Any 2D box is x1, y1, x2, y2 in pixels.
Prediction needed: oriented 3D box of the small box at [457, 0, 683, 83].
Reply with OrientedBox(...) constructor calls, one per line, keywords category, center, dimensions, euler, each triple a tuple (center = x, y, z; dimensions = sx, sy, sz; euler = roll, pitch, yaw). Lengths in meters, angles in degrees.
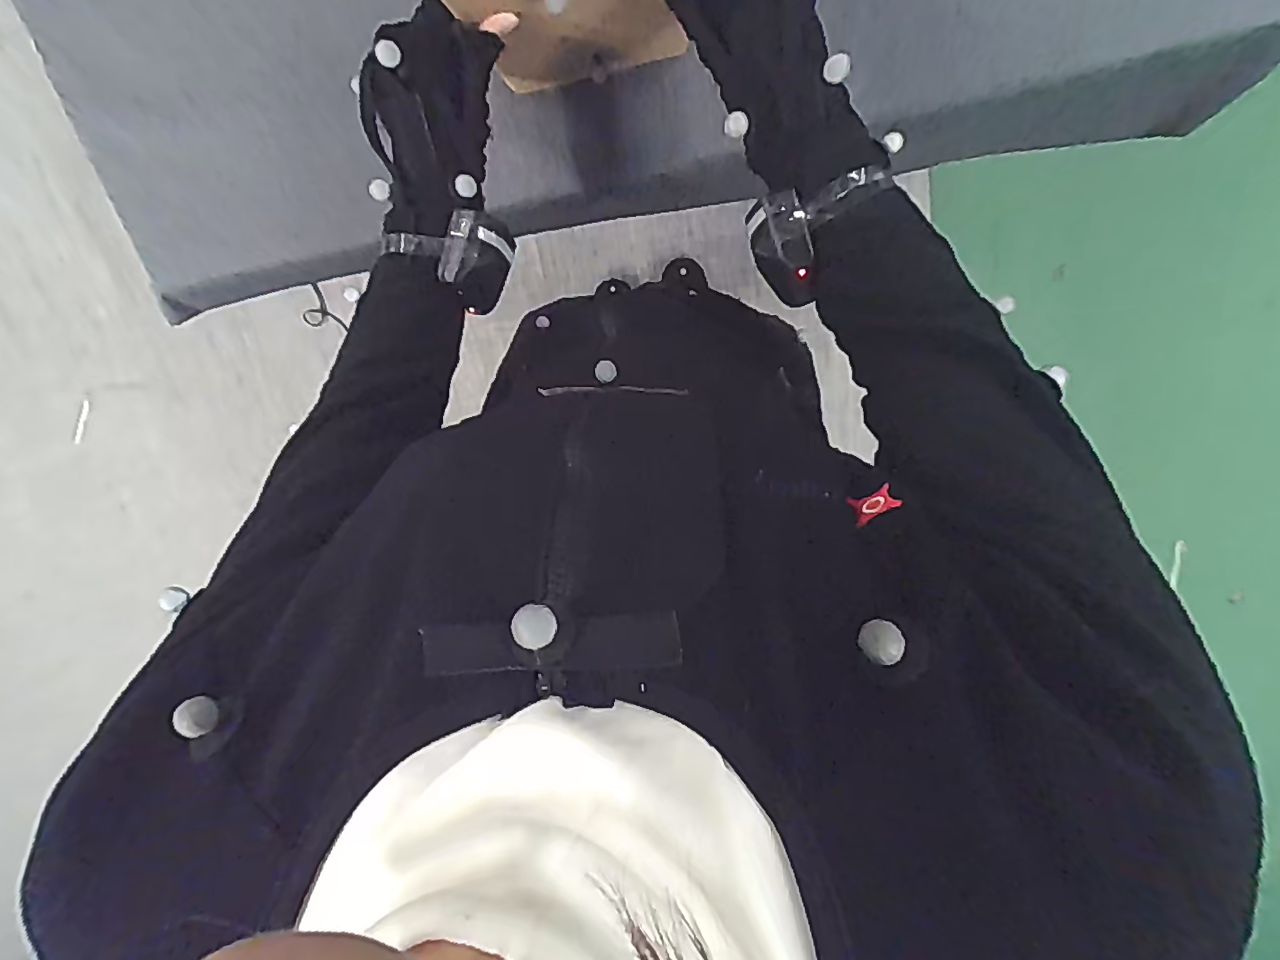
OrientedBox(category="small box", center=(-0.060, -0.454, 0.432), dimensions=(0.179, 0.176, 0.168), euler=(-10, 110, 6))
